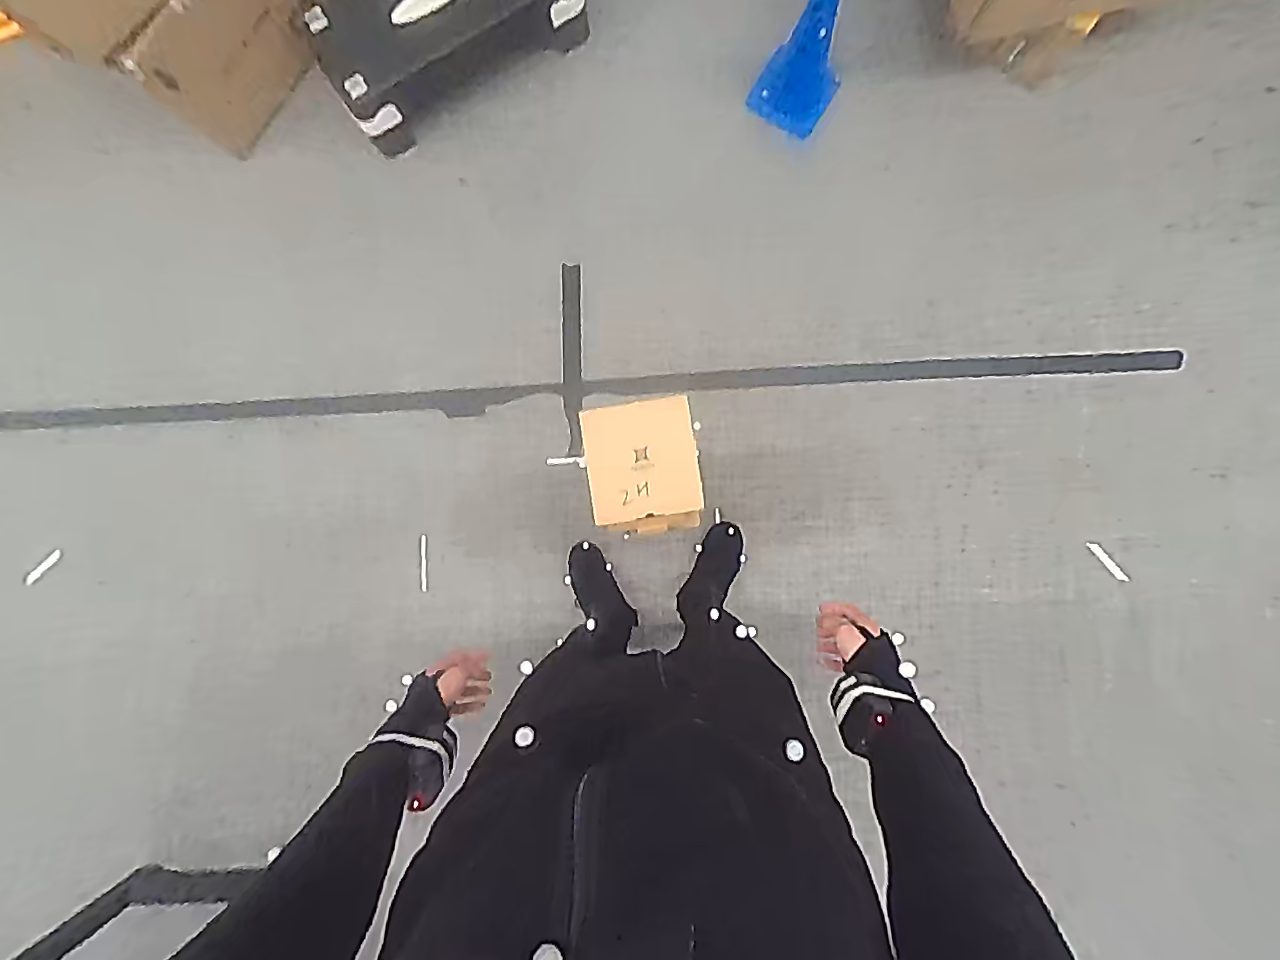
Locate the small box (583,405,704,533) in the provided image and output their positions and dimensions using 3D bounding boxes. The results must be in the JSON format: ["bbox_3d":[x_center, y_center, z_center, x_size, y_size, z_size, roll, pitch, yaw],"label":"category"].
[{"bbox_3d":[0.006,-0.013,0.884,0.168,0.176,0.179,-8,88,2],"label":"small box"}]
